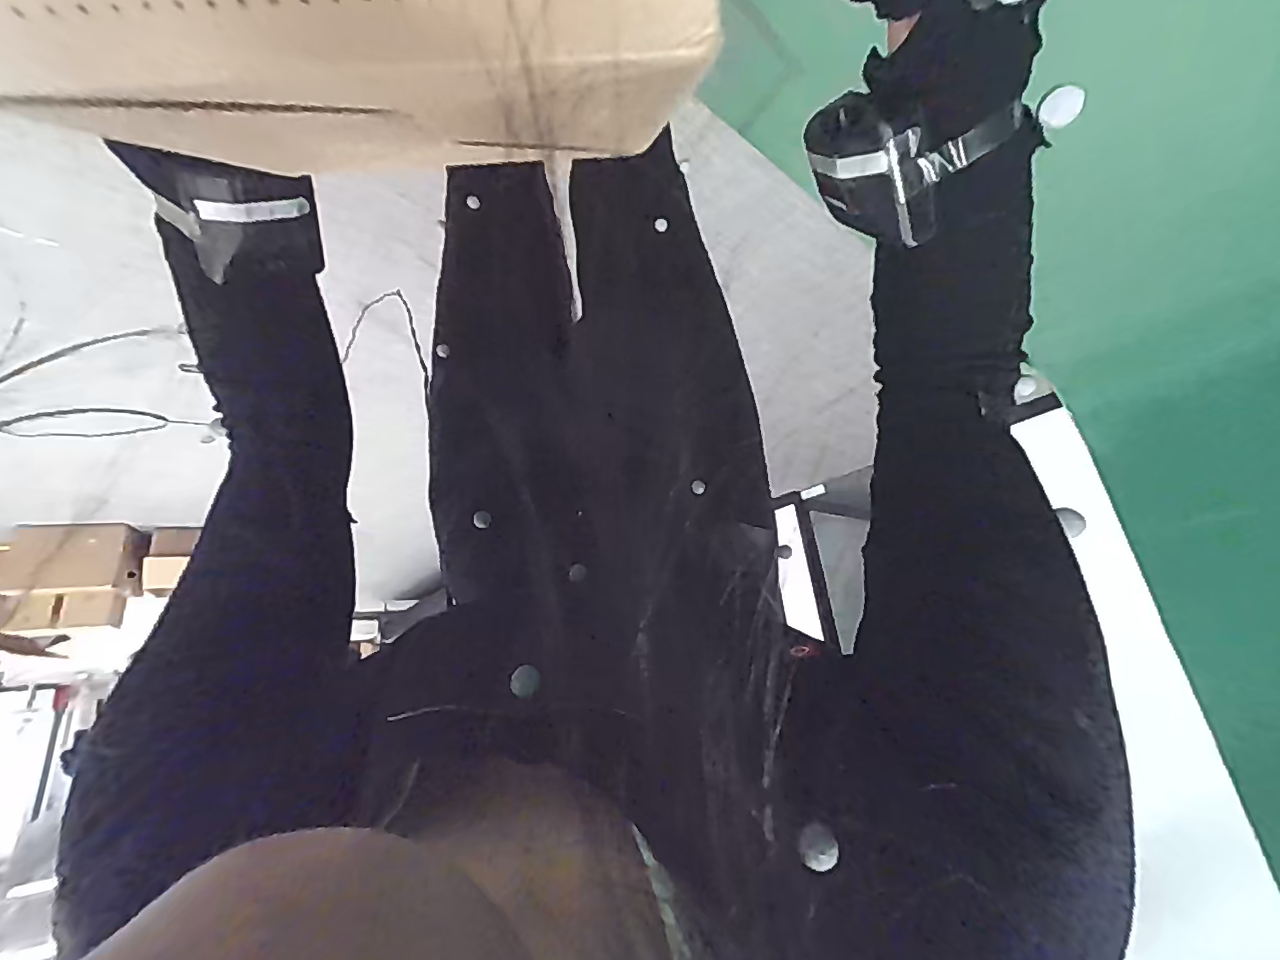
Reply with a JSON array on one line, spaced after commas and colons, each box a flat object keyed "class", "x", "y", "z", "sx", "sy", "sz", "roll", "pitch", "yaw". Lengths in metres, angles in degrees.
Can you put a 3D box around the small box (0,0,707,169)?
[{"class": "small box", "x": -0.083, "y": -0.198, "z": 0.162, "sx": 0.179, "sy": 0.168, "sz": 0.176, "roll": -7, "pitch": 116, "yaw": -4}]
